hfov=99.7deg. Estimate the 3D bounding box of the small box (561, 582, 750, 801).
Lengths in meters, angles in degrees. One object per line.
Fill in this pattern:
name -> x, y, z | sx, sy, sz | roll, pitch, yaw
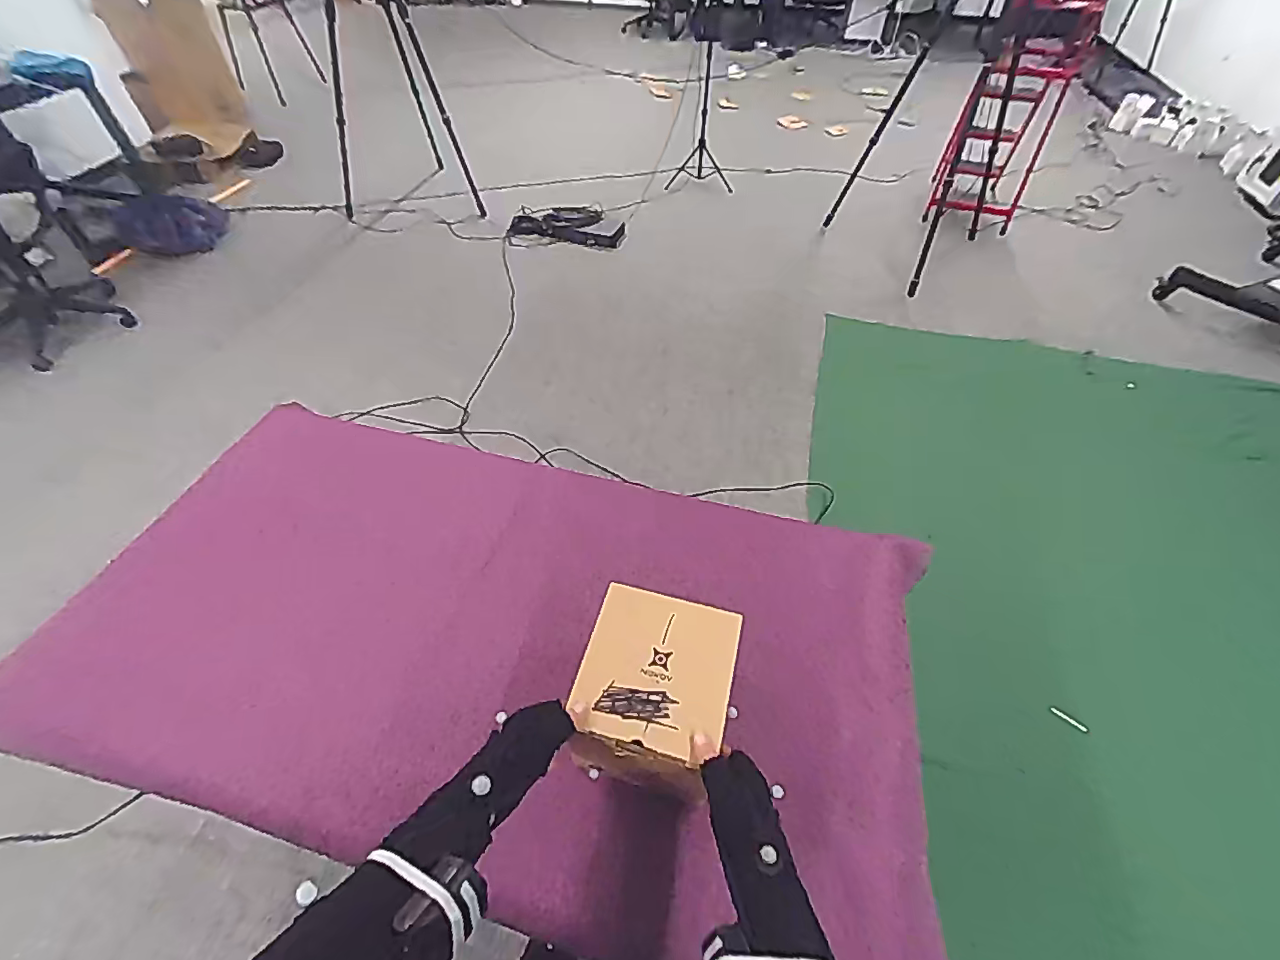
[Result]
small box -> 0.021, 0.257, 0.649 | 0.168, 0.176, 0.179 | 16, 52, 10
